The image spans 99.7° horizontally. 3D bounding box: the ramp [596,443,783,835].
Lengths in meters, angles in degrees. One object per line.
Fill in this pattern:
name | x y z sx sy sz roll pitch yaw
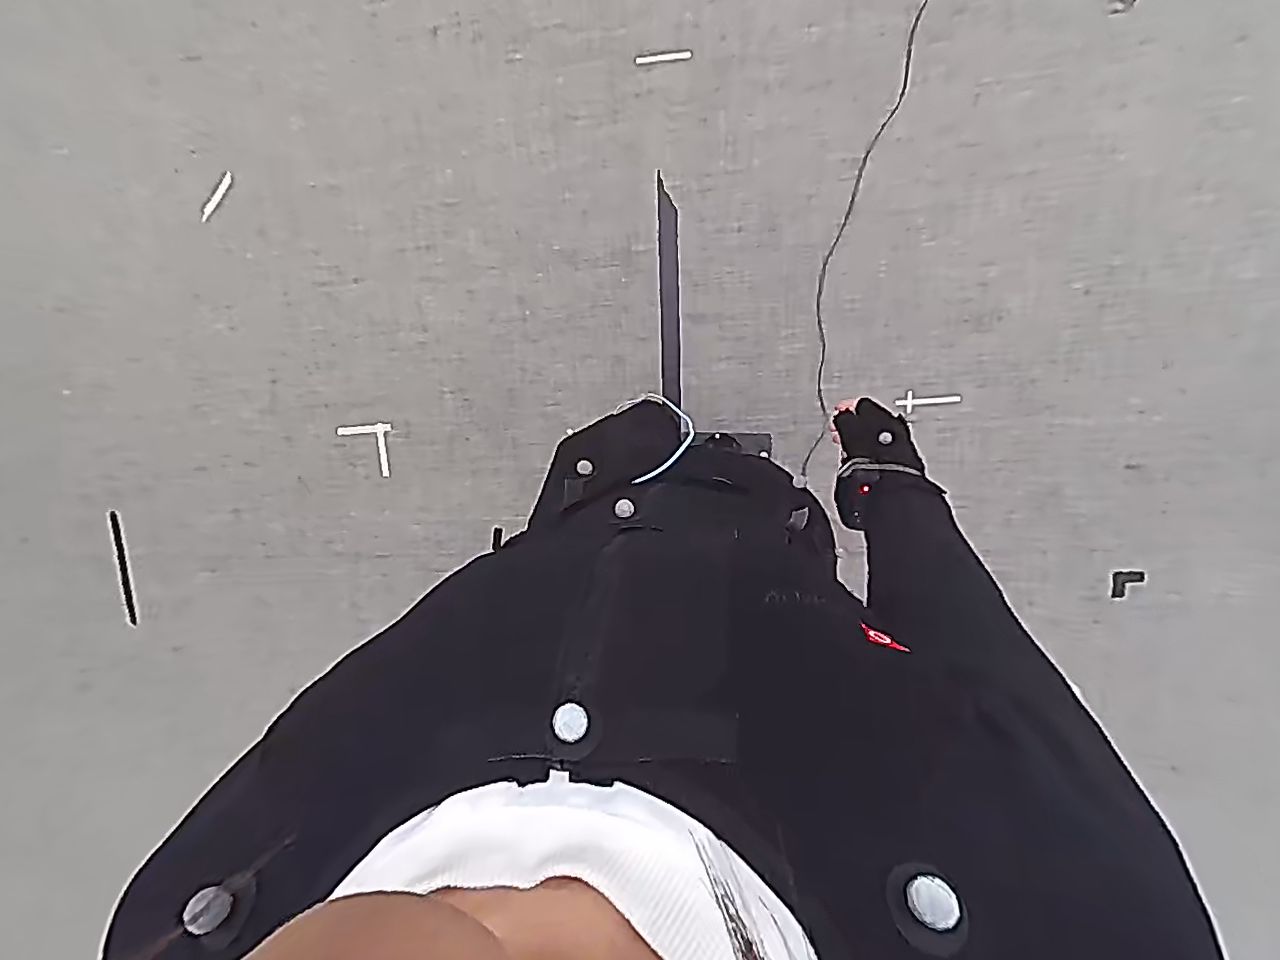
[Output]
ramp | 0.125 0.398 1.437 0.509 0.206 0.991 -2 96 11
